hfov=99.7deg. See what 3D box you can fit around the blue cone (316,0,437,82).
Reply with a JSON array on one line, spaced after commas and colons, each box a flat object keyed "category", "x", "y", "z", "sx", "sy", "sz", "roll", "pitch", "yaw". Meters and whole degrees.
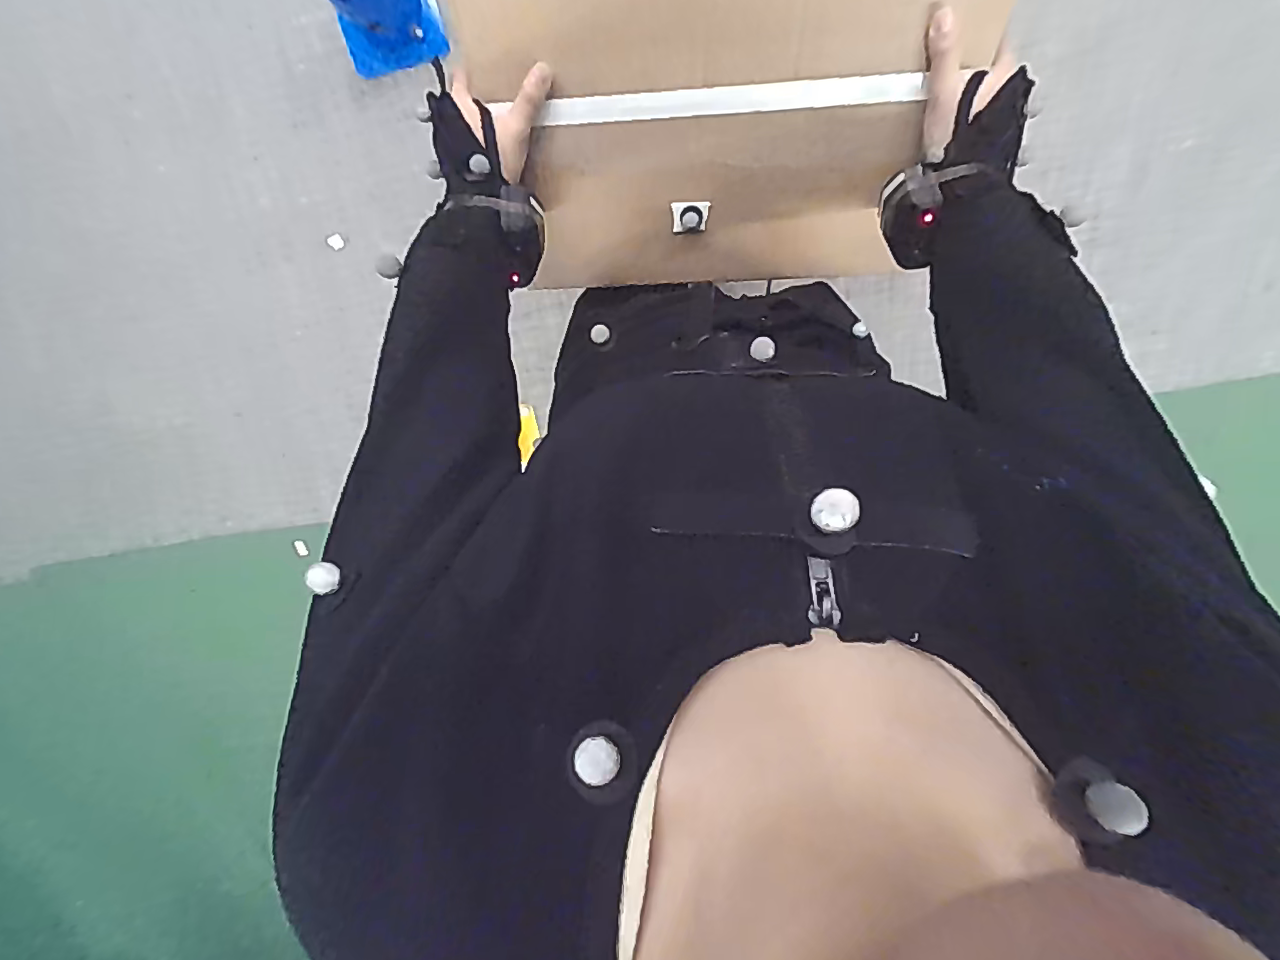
[{"category": "blue cone", "x": -0.505, "y": -0.823, "z": 0.881, "sx": 0.192, "sy": 0.380, "sz": 0.193, "roll": -8, "pitch": 113, "yaw": 8}]
